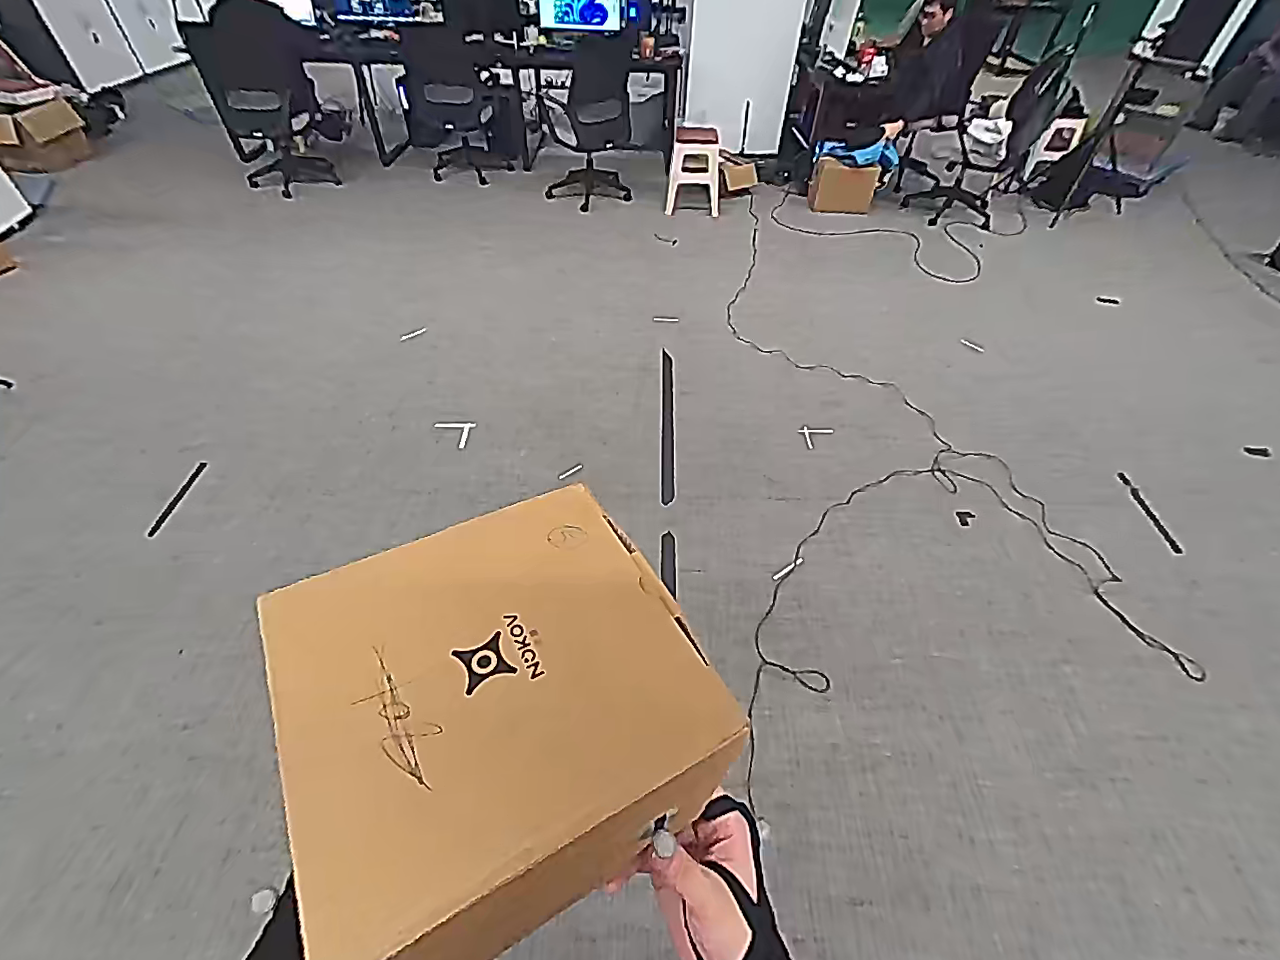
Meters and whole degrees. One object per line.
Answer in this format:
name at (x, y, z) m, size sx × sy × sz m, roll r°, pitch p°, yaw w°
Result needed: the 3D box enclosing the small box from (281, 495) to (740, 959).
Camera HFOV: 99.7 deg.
small box at (-0.072, 0.144, 0.317) m, size 0.179 × 0.176 × 0.168 m, roll -21°, pitch 51°, yaw -23°
